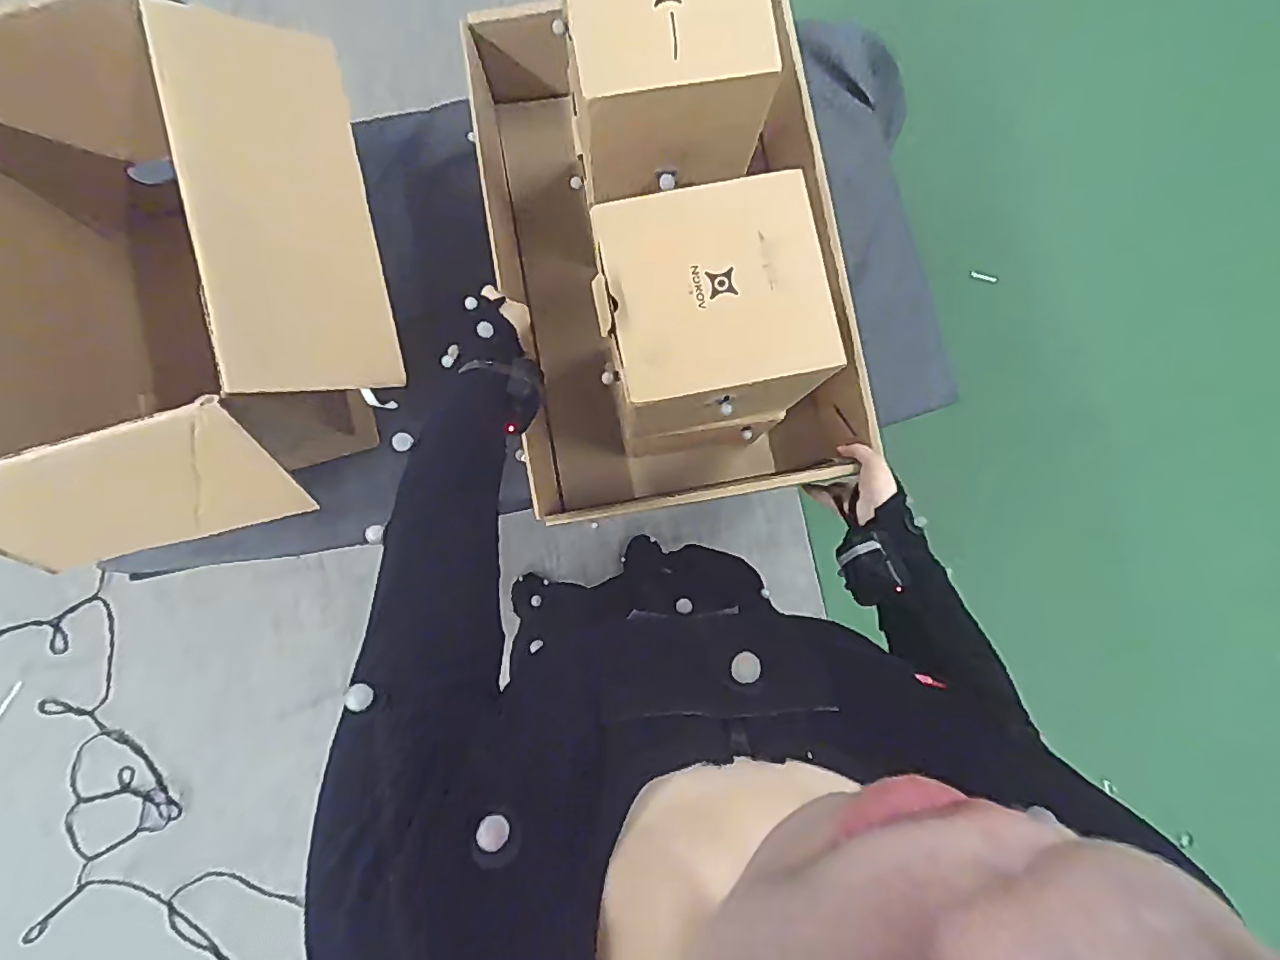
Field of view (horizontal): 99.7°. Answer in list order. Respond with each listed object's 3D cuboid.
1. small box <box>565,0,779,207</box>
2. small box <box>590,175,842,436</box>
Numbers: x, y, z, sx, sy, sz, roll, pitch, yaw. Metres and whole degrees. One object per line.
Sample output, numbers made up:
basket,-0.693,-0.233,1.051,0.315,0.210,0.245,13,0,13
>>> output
small box,0.019,-0.394,0.521,0.168,0.176,0.179,-9,88,-2
small box,0.058,-0.144,0.506,0.179,0.176,0.168,-11,86,-3
